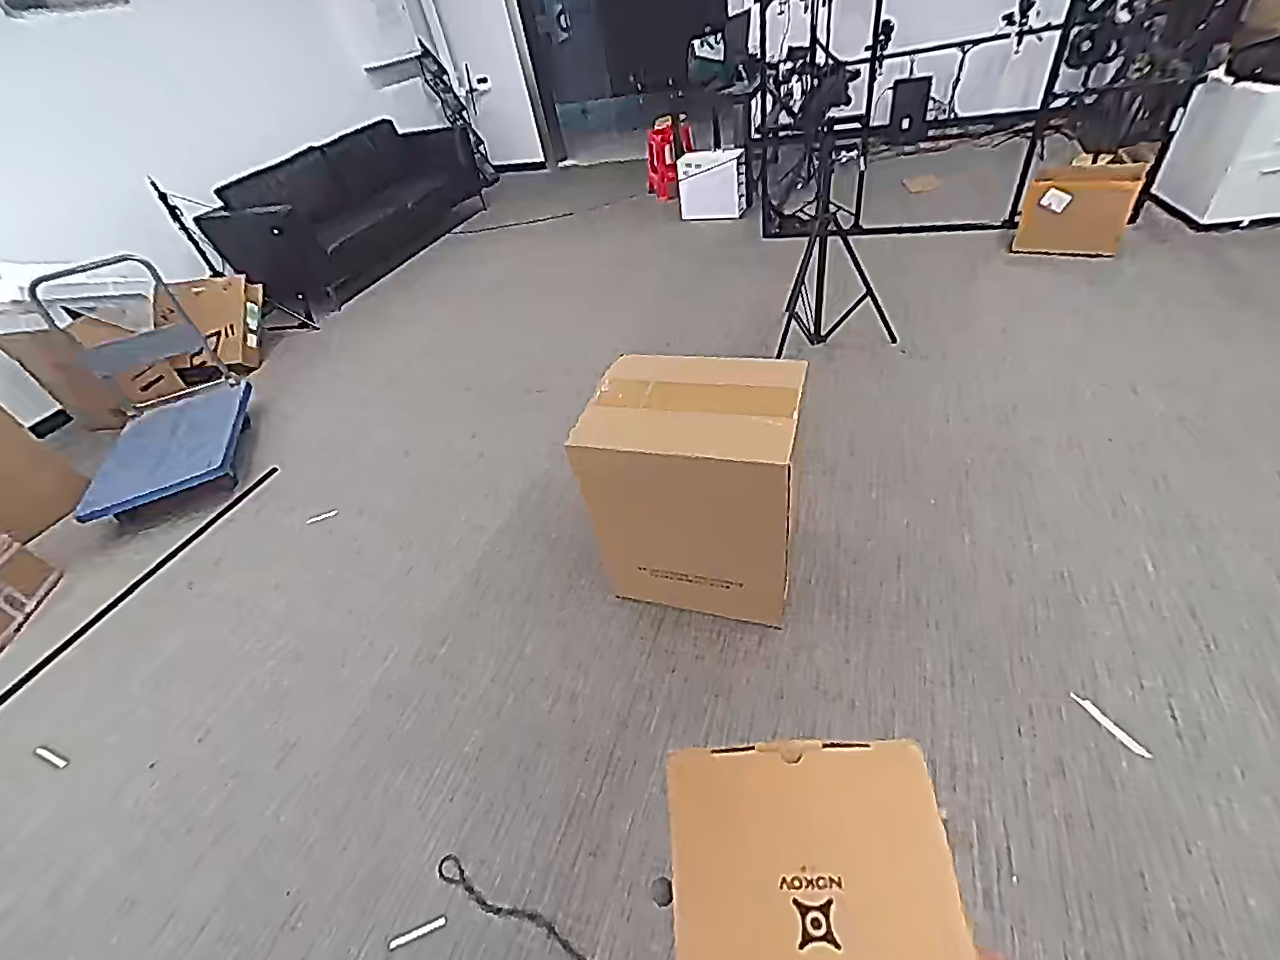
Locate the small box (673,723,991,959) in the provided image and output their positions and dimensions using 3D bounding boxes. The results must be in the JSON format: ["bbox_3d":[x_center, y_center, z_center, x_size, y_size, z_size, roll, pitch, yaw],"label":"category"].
[{"bbox_3d":[0.117,0.280,0.373,0.168,0.176,0.179,-6,54,7],"label":"small box"}]
